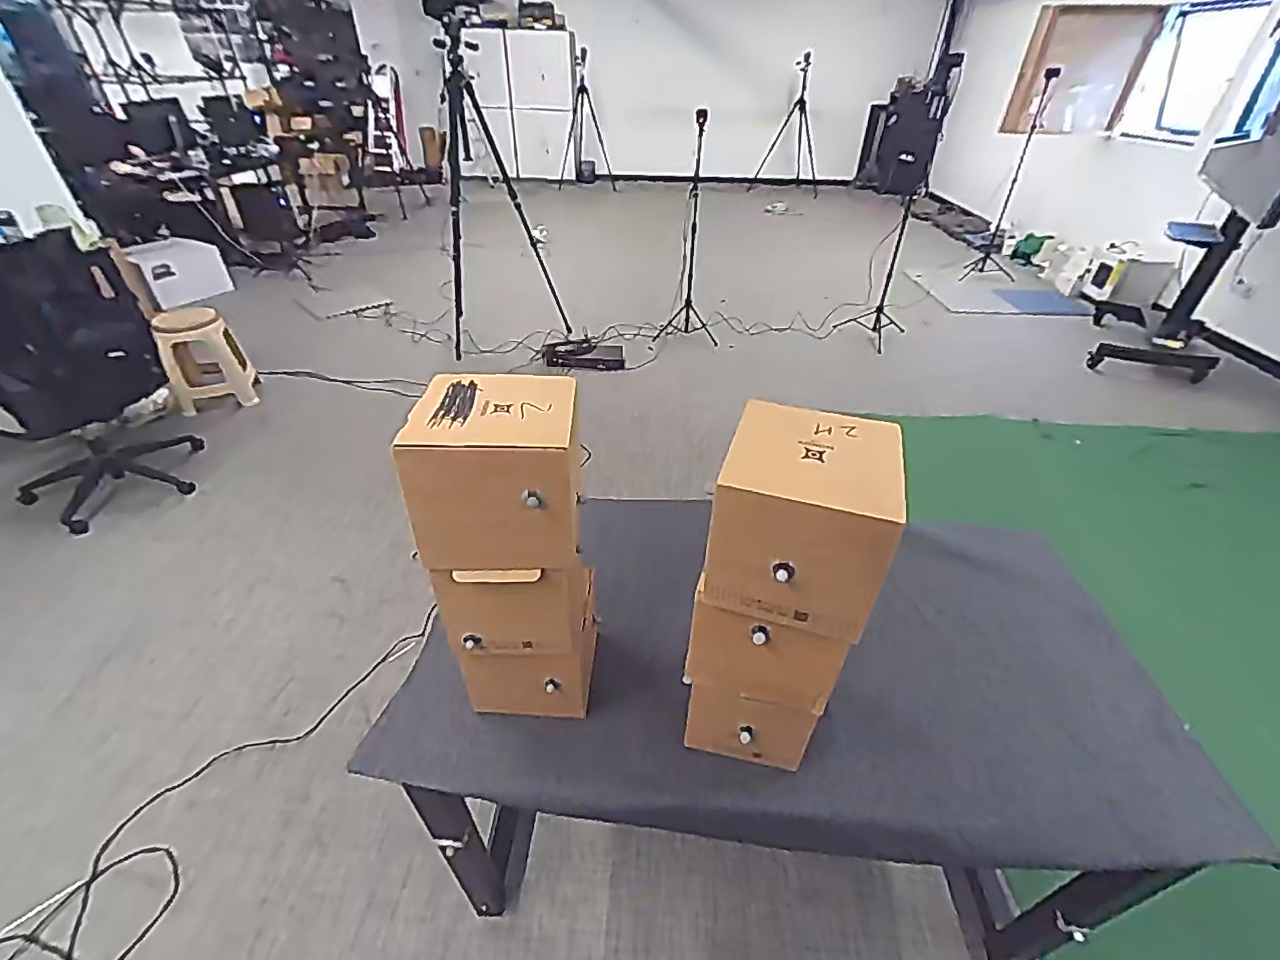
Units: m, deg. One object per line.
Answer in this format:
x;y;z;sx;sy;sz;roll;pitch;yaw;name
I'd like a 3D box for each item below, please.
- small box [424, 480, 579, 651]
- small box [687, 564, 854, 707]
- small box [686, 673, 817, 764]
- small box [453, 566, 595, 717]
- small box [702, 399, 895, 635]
-0.174;0.118;0.745;0.168;0.176;0.179;0;35;-2;small box
0.165;0.161;0.692;0.179;0.176;0.168;11;38;15;small box
0.162;0.286;0.797;0.168;0.176;0.179;8;38;10;small box
-0.166;0.249;0.844;0.179;0.176;0.168;1;36;2;small box
0.166;0.036;0.583;0.168;0.176;0.179;12;38;15;small box
